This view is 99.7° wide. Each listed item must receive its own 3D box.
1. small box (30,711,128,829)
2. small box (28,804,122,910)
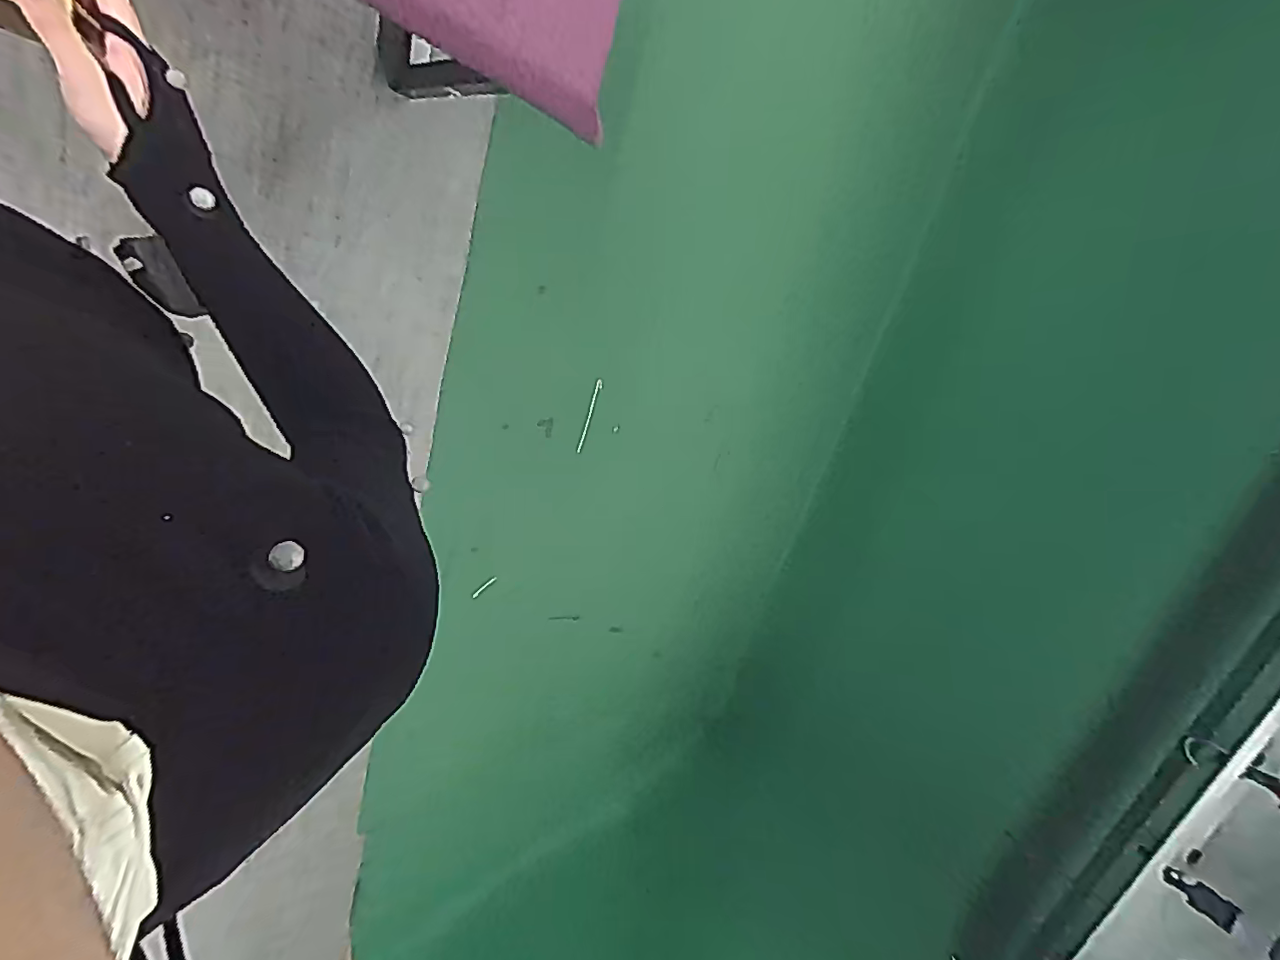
[{"bbox_3d":[-1.444,0.736,1.392,0.168,0.176,0.179,1,114,-48],"label":"small box"},{"bbox_3d":[-1.532,0.989,1.465,0.168,0.176,0.179,2,113,-48],"label":"small box"}]
